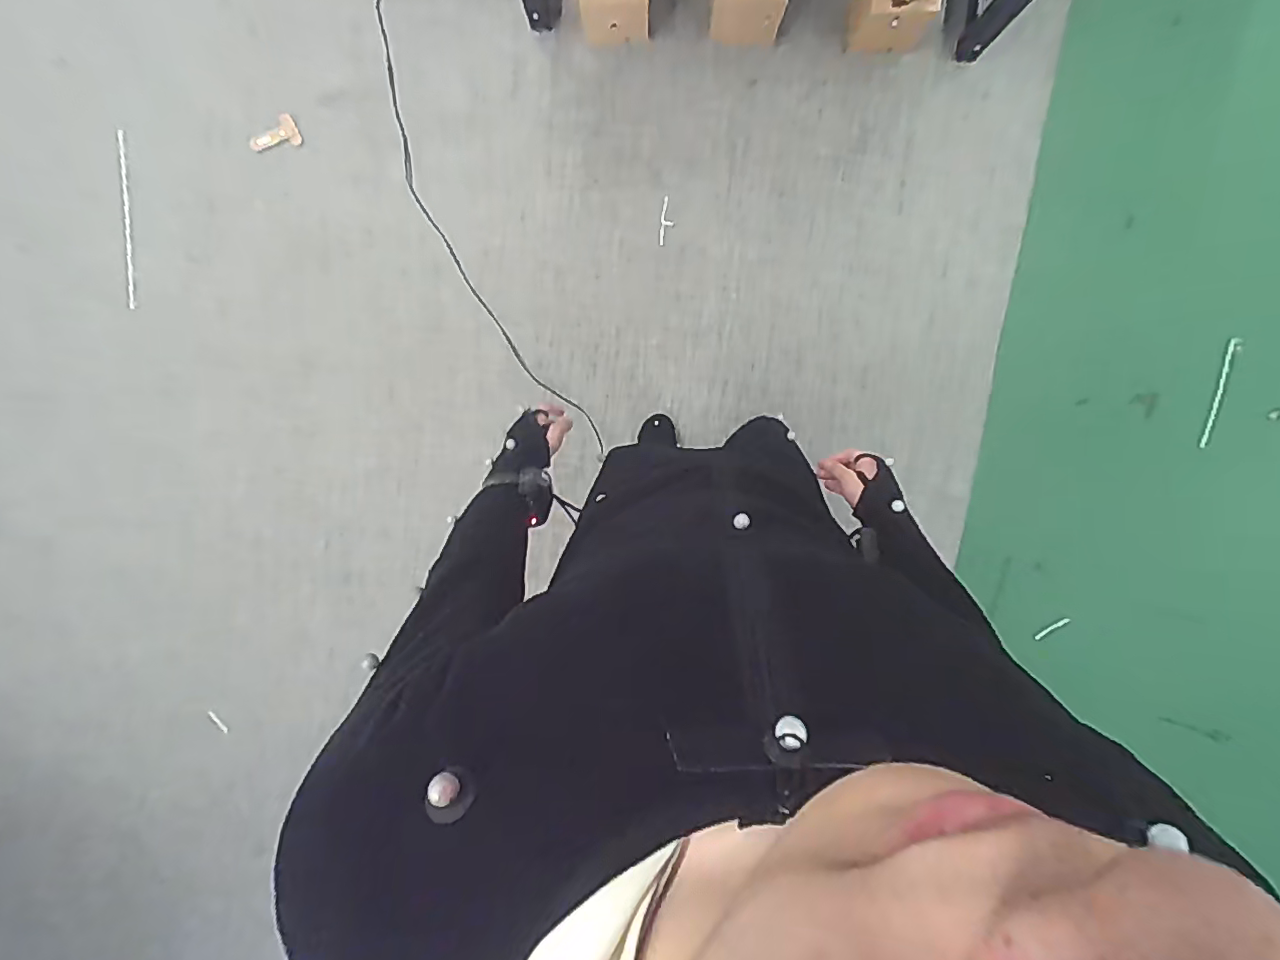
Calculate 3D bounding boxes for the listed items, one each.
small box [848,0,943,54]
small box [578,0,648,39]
[{"bbox_3d":[0.624,-1.198,1.330,0.168,0.176,0.179,-1,99,1],"label":"small box"},{"bbox_3d":[-0.067,-1.231,1.334,0.168,0.176,0.179,-3,99,1],"label":"small box"}]
